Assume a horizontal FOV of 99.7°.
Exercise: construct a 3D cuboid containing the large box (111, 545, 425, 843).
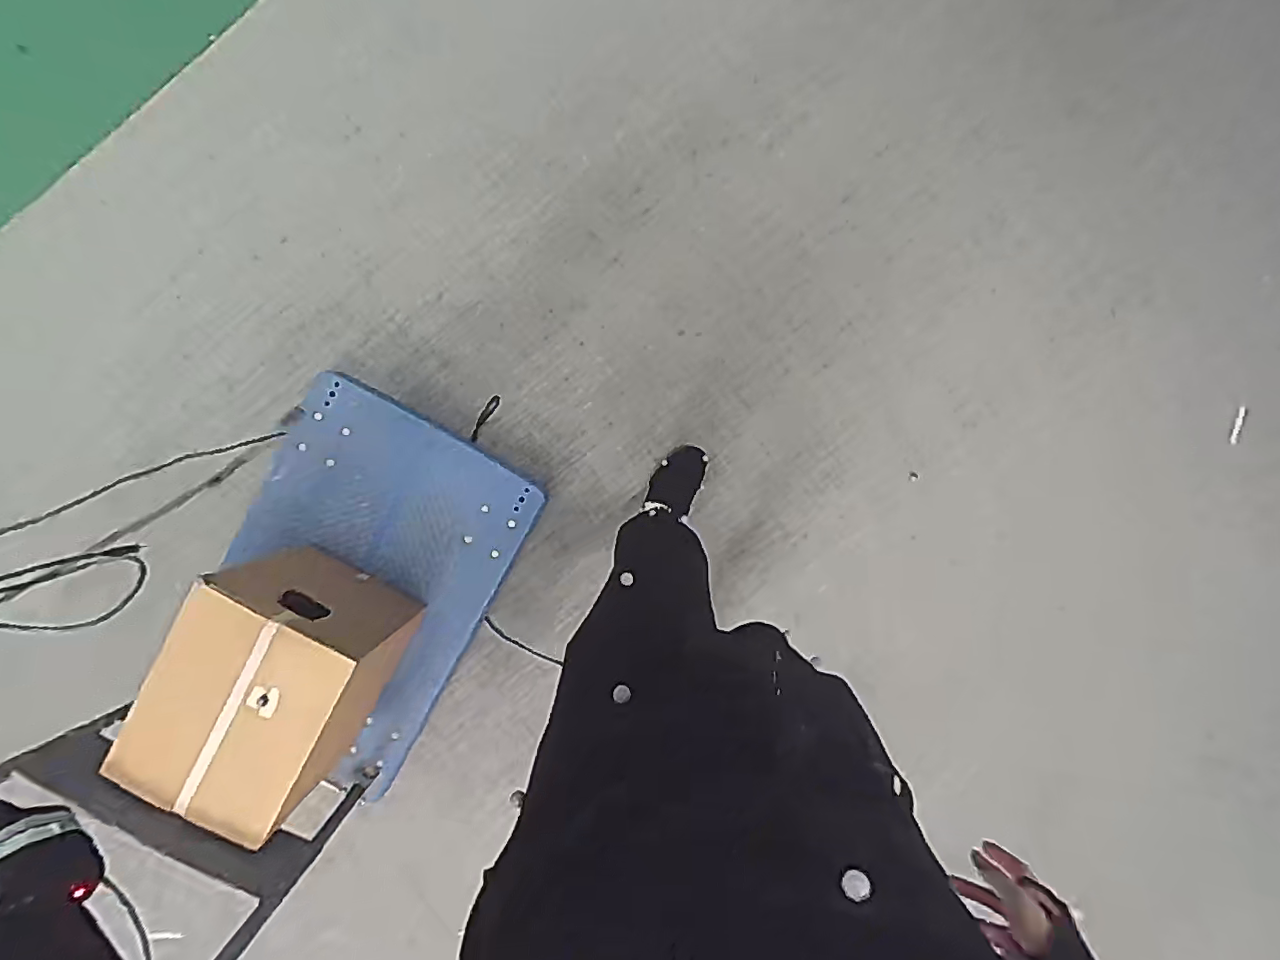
[{"bbox_3d":[-0.713,0.397,1.096,0.320,0.320,0.408,29,93,-2],"label":"large box"}]
